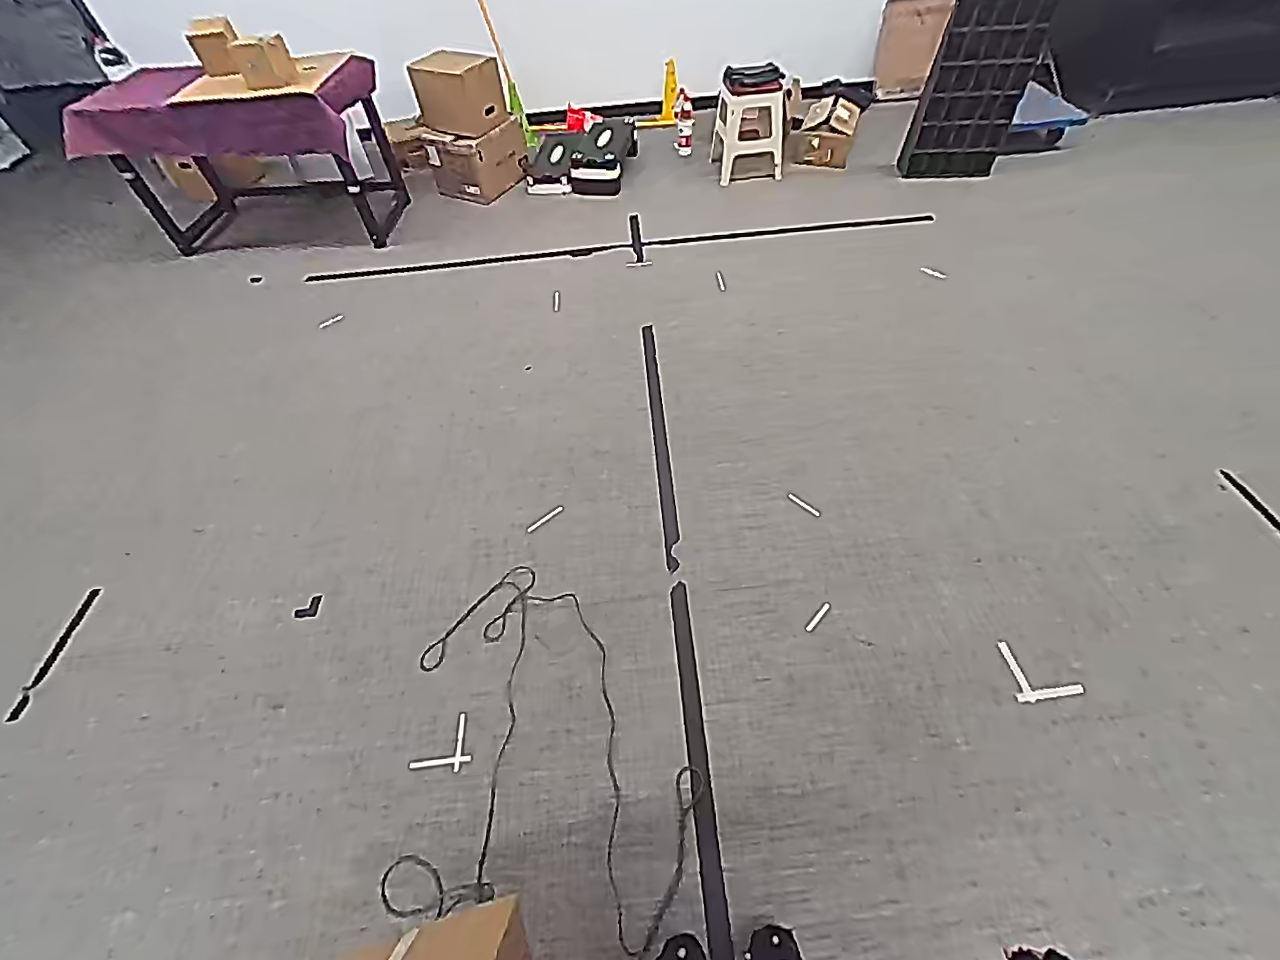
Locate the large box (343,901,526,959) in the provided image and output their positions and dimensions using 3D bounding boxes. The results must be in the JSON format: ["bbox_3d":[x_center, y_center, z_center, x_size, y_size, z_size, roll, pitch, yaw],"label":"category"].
[{"bbox_3d":[-0.283,0.797,0.606,0.320,0.408,0.320,-18,81,-5],"label":"large box"}]
